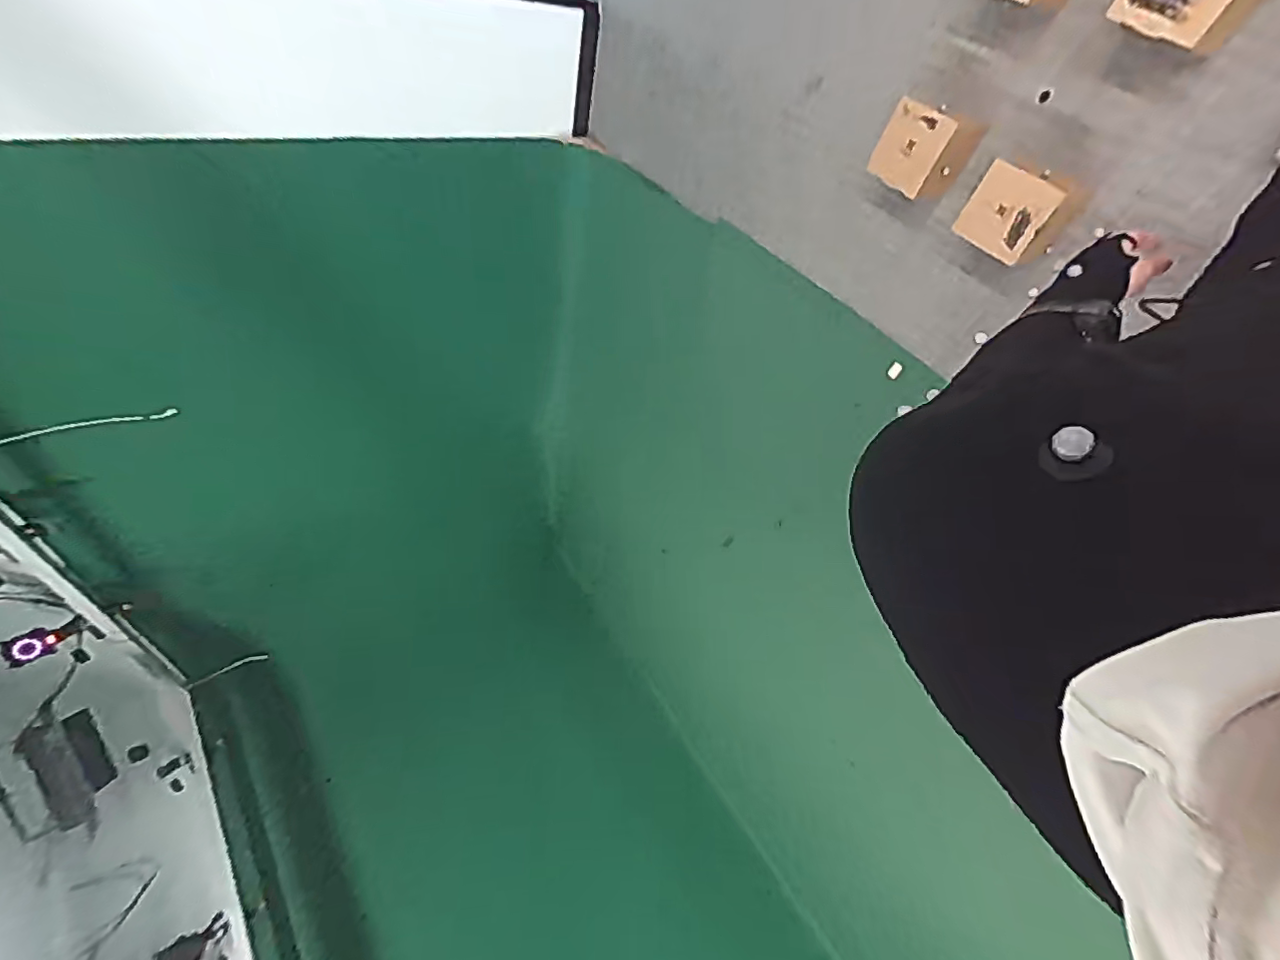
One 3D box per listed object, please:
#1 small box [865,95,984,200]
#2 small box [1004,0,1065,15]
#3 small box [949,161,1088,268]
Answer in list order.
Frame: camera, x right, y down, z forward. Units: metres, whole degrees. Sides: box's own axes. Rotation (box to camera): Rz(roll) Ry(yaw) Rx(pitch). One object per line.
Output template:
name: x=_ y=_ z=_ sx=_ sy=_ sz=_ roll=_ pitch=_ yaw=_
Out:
small box: x=0.719 y=-0.838 z=1.367 sx=0.168 sy=0.176 sz=0.179 roll=52 pitch=146 yaw=24
small box: x=0.804 y=-1.082 z=1.091 sx=0.168 sy=0.176 sz=0.179 roll=51 pitch=145 yaw=27
small box: x=0.879 y=-0.623 z=1.257 sx=0.179 sy=0.176 sz=0.168 roll=52 pitch=145 yaw=26
